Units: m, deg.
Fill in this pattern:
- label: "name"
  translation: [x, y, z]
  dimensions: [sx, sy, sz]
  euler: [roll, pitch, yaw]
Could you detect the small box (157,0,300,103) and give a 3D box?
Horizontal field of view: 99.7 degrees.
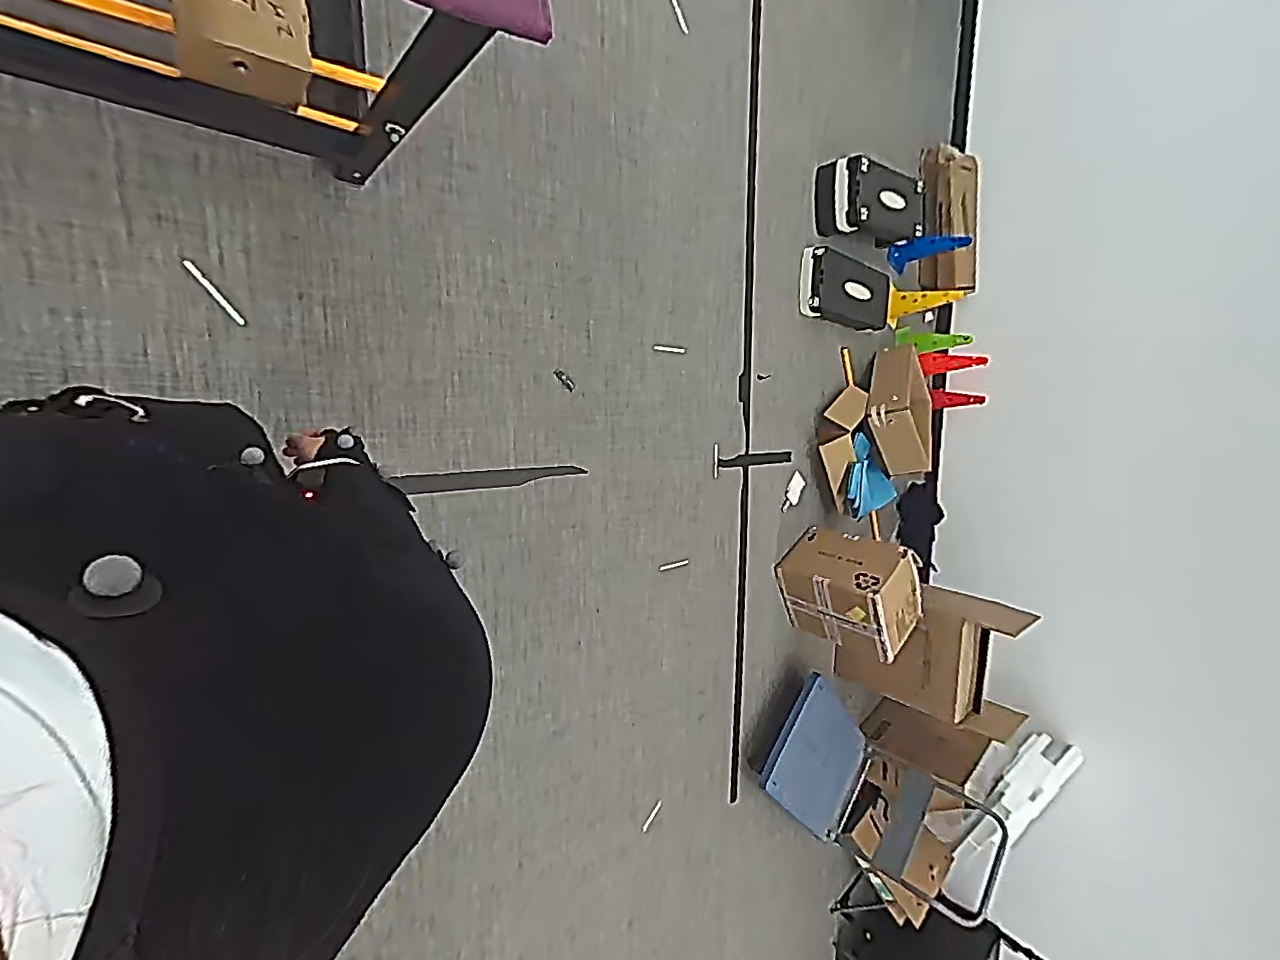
- label: "small box"
  translation: [-0.686, -0.767, 0.898]
  dimensions: [0.179, 0.176, 0.168]
  euler: [-8, 103, -41]
